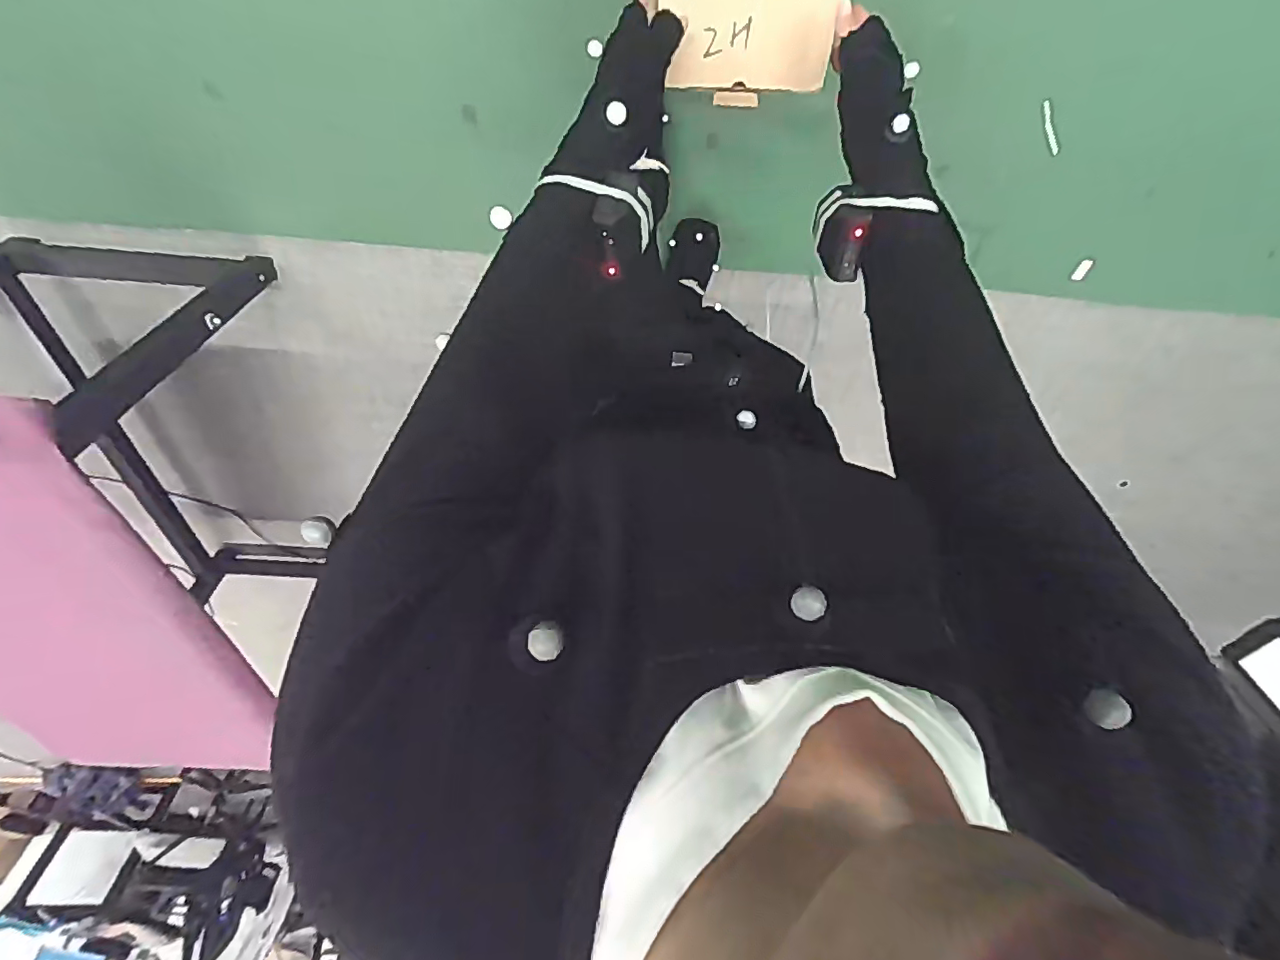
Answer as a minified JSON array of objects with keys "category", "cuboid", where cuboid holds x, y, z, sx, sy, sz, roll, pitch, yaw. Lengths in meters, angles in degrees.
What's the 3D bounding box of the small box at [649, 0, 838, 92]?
[{"category":"small box","cuboid":[0.096,-0.501,0.531,0.168,0.176,0.179,1,133,-2]}]
